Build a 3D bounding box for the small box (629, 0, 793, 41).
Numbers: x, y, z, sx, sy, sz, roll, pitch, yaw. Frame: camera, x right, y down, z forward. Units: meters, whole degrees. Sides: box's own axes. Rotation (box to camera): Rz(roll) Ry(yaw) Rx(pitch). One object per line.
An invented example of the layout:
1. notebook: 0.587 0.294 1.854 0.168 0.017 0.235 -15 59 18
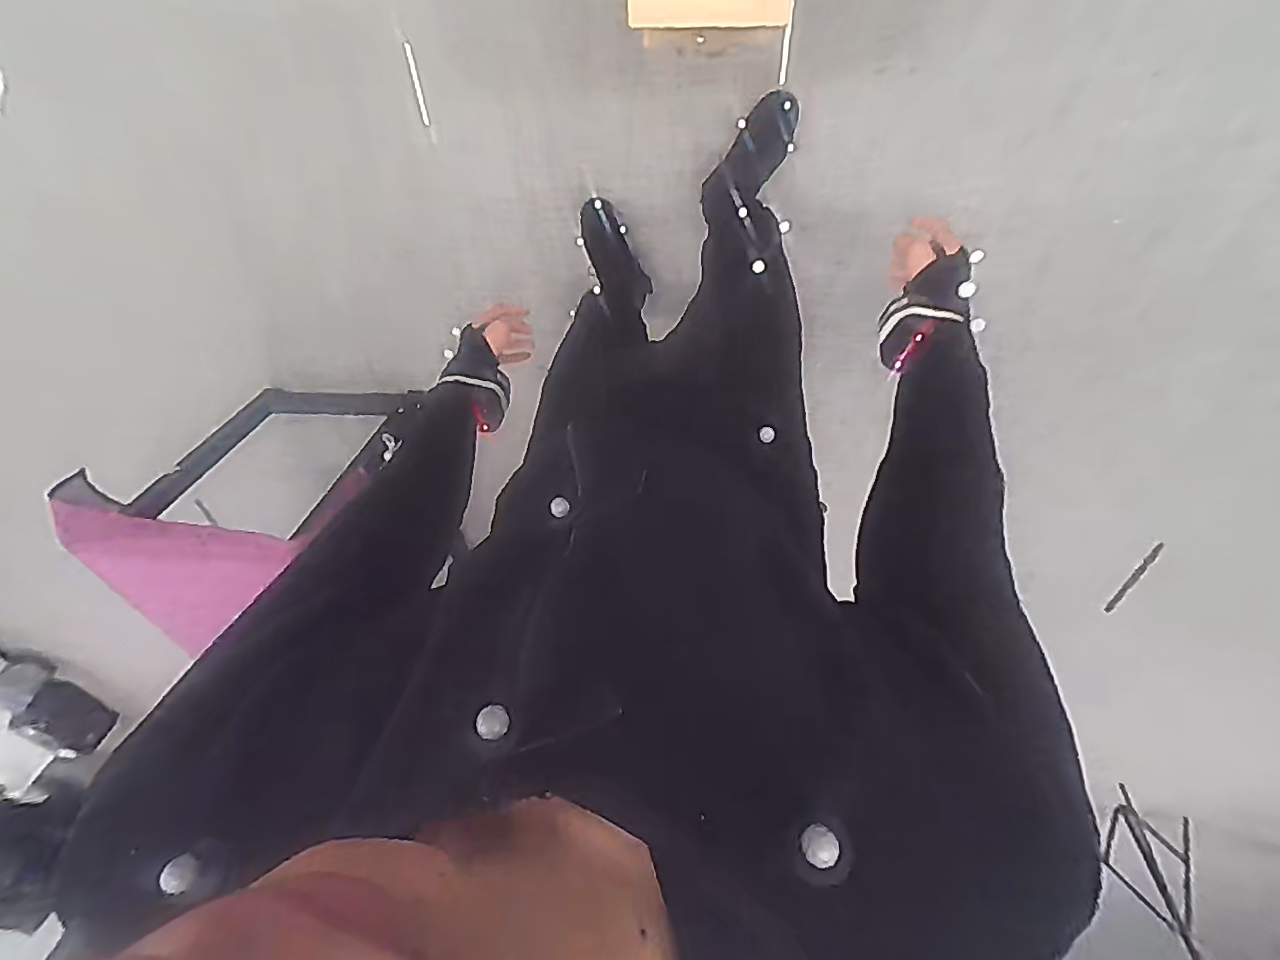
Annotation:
1. small box: 0.082 -0.597 0.598 0.179 0.176 0.168 4 131 6
